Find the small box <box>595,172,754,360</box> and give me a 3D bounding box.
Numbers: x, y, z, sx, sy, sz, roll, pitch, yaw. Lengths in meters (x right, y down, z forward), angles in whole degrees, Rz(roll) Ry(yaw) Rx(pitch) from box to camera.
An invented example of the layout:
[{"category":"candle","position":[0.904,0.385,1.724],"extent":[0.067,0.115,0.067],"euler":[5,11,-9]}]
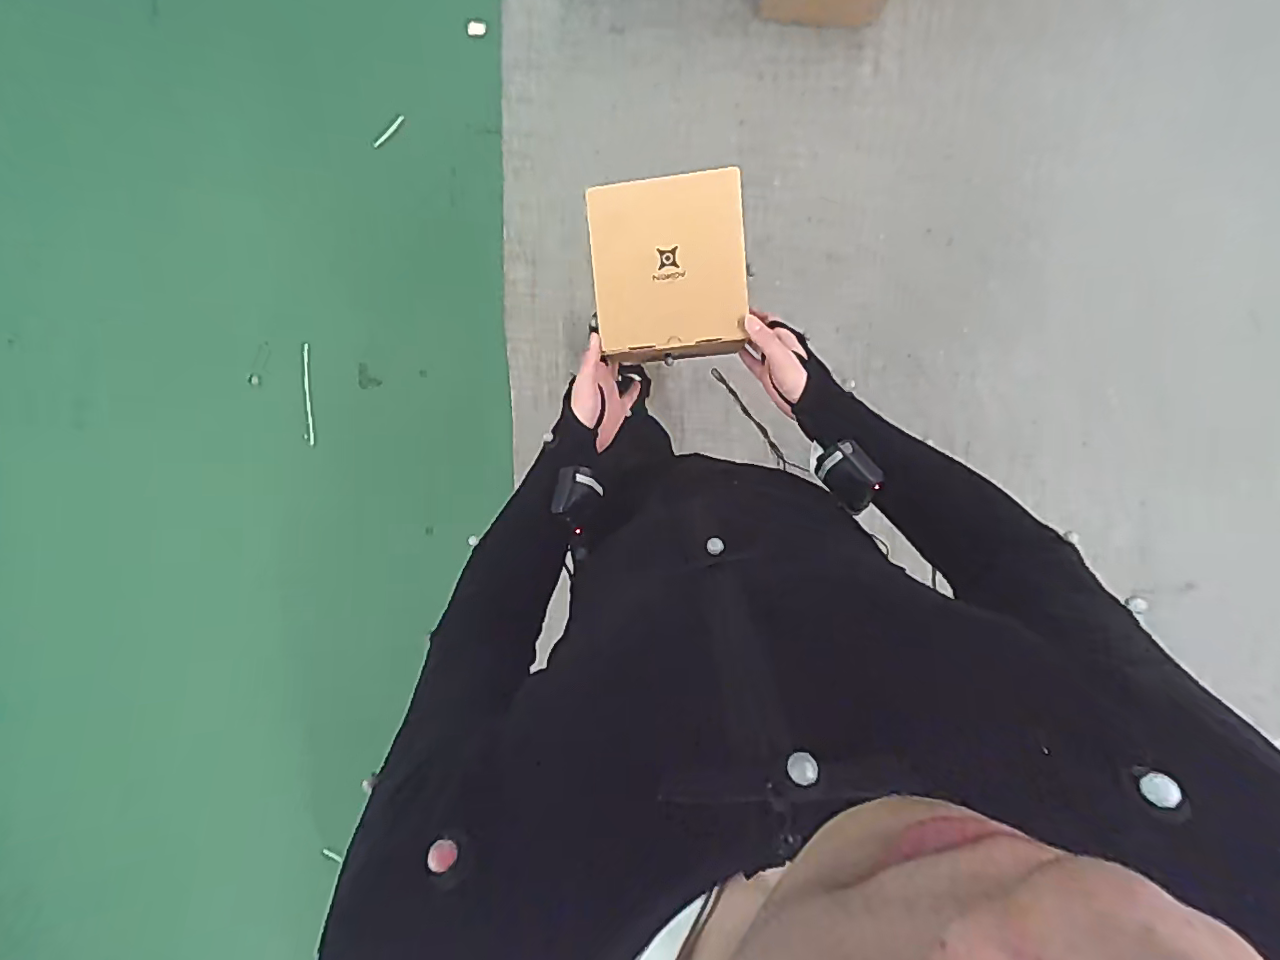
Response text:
[{"category":"small box","position":[0.043,-0.244,0.659],"extent":[0.168,0.176,0.179],"euler":[-4,100,5]}]
